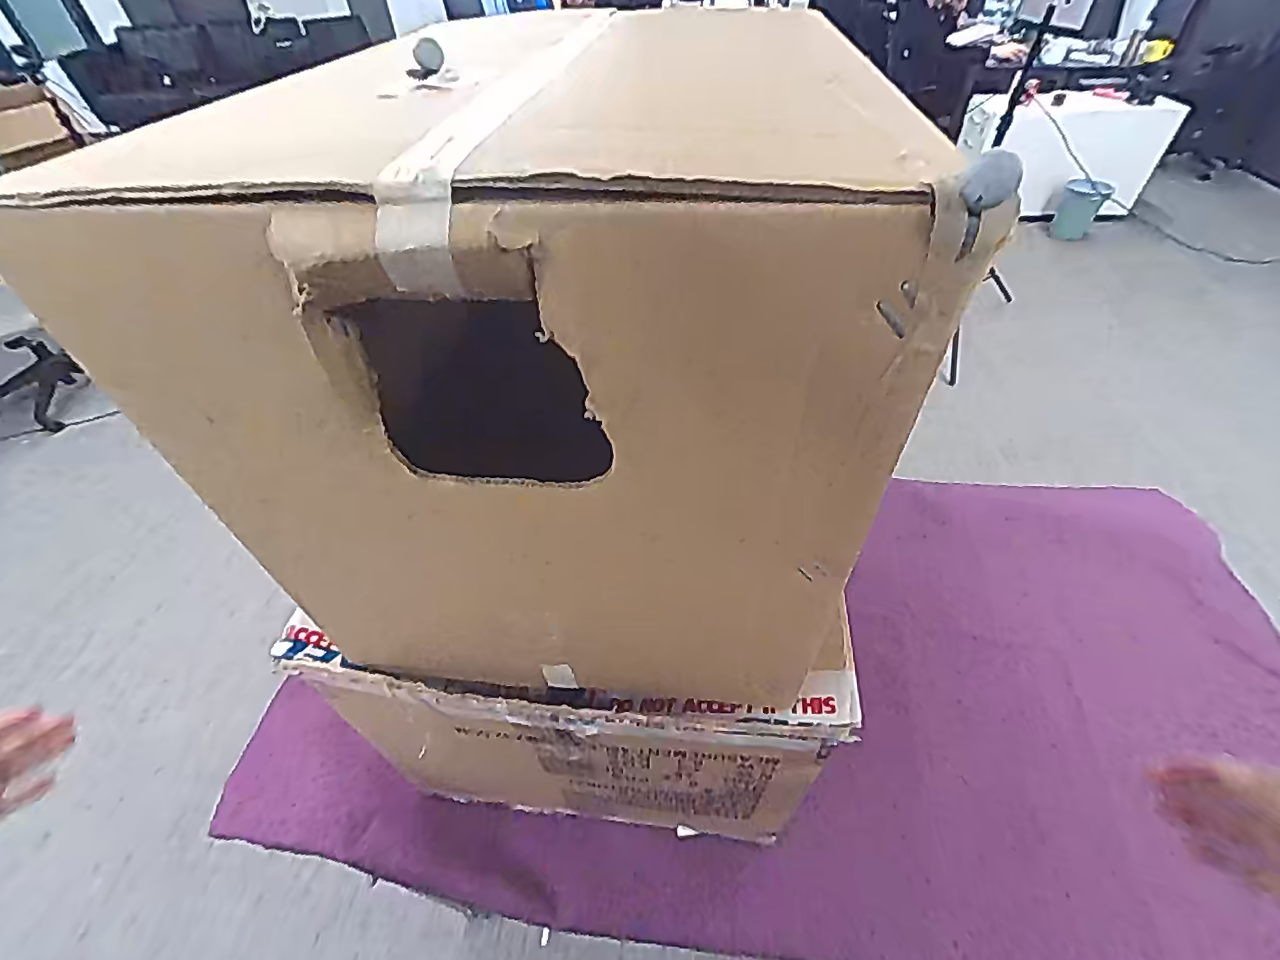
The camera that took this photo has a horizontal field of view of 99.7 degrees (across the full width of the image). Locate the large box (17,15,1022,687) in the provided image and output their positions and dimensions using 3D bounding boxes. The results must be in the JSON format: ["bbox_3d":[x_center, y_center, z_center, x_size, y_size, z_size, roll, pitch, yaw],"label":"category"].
[{"bbox_3d":[-0.027,-0.113,0.399,0.320,0.320,0.408,2,46,6],"label":"large box"}]
